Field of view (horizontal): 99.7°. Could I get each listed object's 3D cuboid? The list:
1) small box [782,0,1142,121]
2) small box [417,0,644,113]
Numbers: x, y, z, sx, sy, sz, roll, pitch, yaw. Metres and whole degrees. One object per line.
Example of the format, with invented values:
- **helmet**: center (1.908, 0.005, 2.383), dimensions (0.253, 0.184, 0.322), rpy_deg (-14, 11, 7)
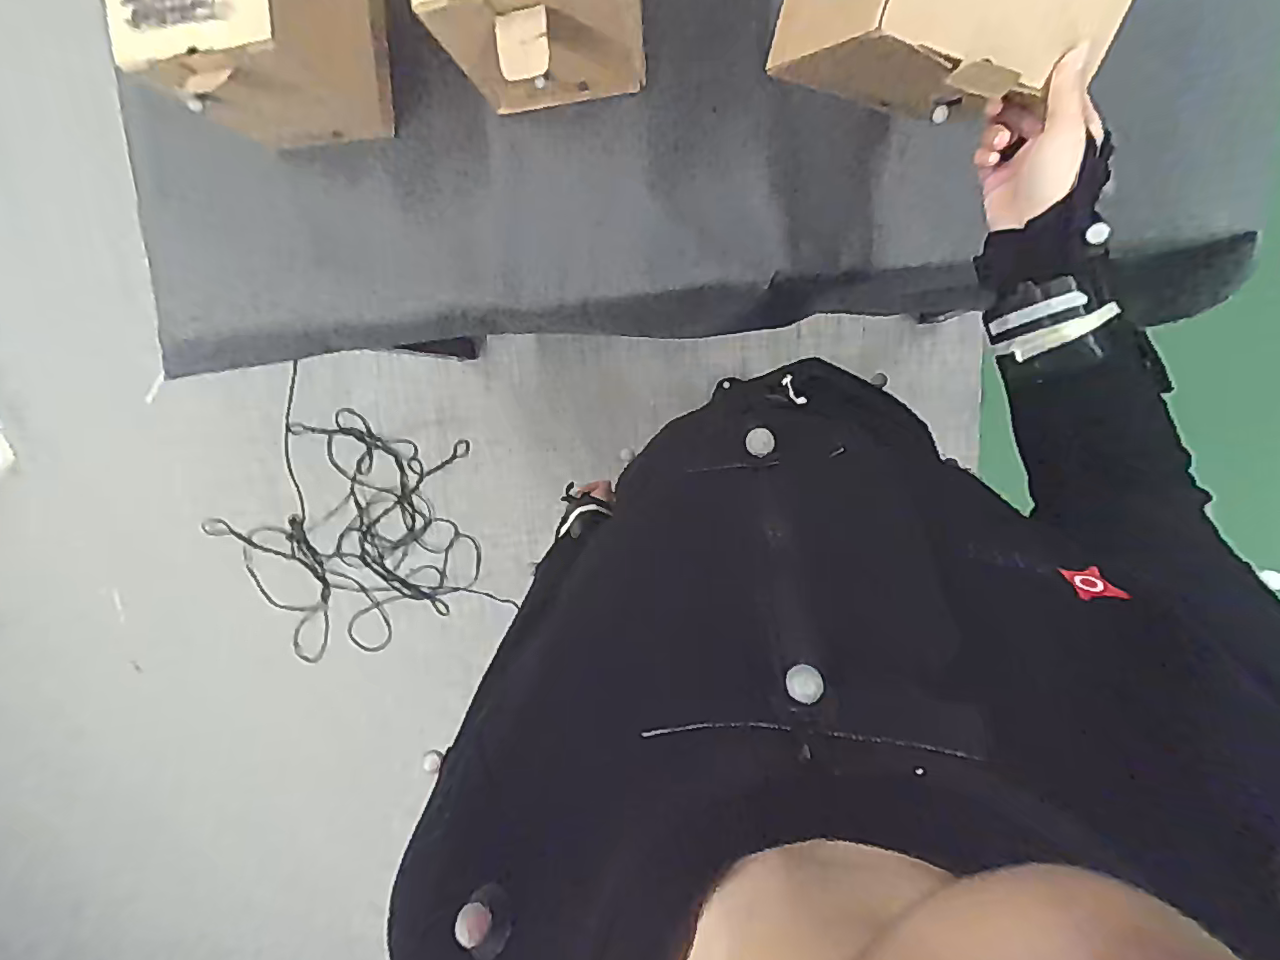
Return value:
- **small box**: center (0.219, -0.364, 0.366), dimensions (0.168, 0.176, 0.179), rpy_deg (4, 119, -16)
- **small box**: center (-0.092, -0.478, 0.491), dimensions (0.168, 0.176, 0.179), rpy_deg (-2, 99, 10)
